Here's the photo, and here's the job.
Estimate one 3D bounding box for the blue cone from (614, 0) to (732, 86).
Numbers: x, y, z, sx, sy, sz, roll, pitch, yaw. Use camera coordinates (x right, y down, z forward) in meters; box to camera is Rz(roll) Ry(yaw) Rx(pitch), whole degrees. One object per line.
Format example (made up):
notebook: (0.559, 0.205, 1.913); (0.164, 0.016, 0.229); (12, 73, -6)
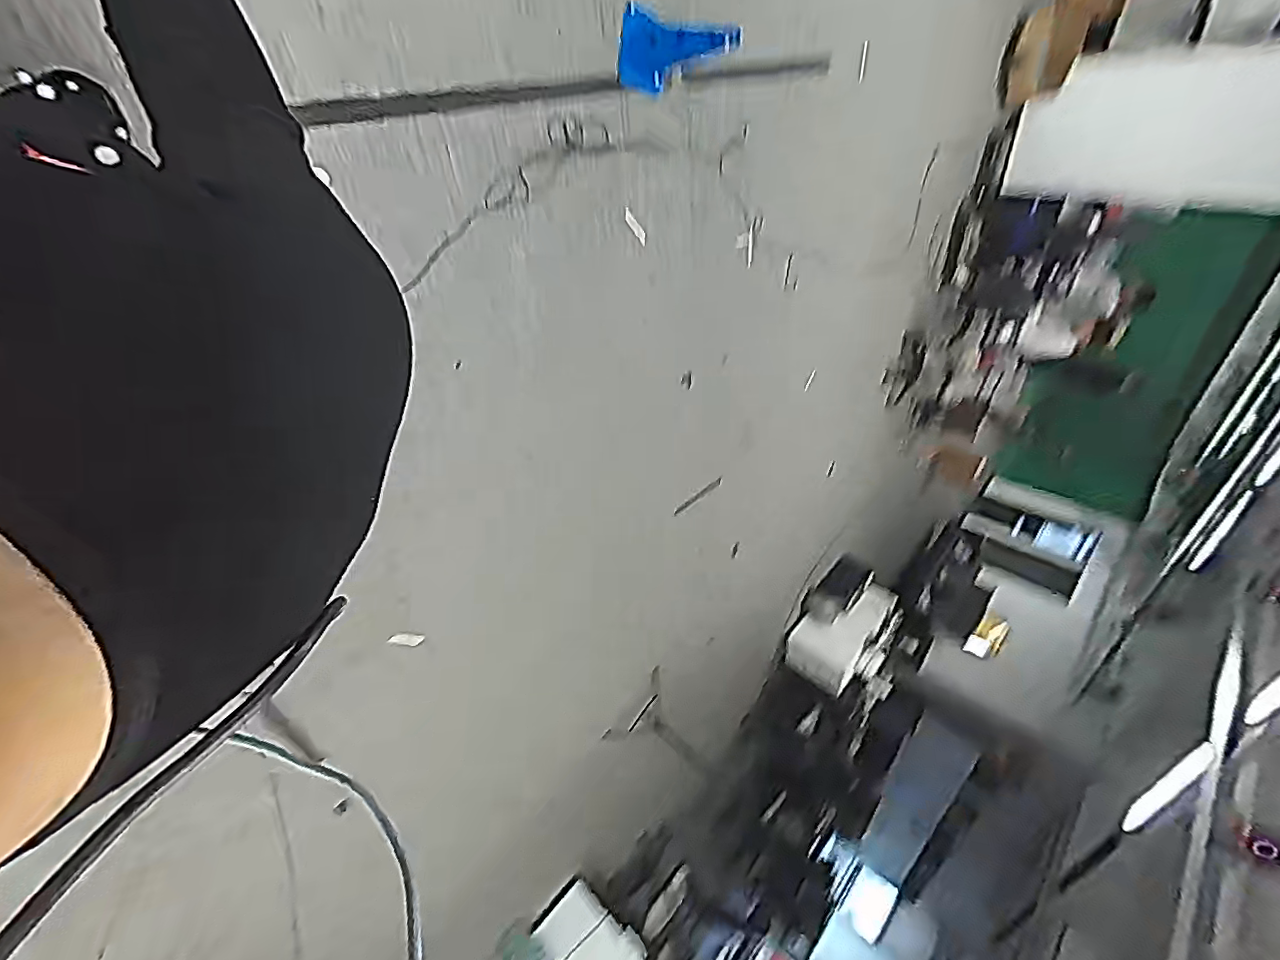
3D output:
blue cone: (0.115, -1.292, 1.577); (0.192, 0.380, 0.193); (-14, 121, -45)
